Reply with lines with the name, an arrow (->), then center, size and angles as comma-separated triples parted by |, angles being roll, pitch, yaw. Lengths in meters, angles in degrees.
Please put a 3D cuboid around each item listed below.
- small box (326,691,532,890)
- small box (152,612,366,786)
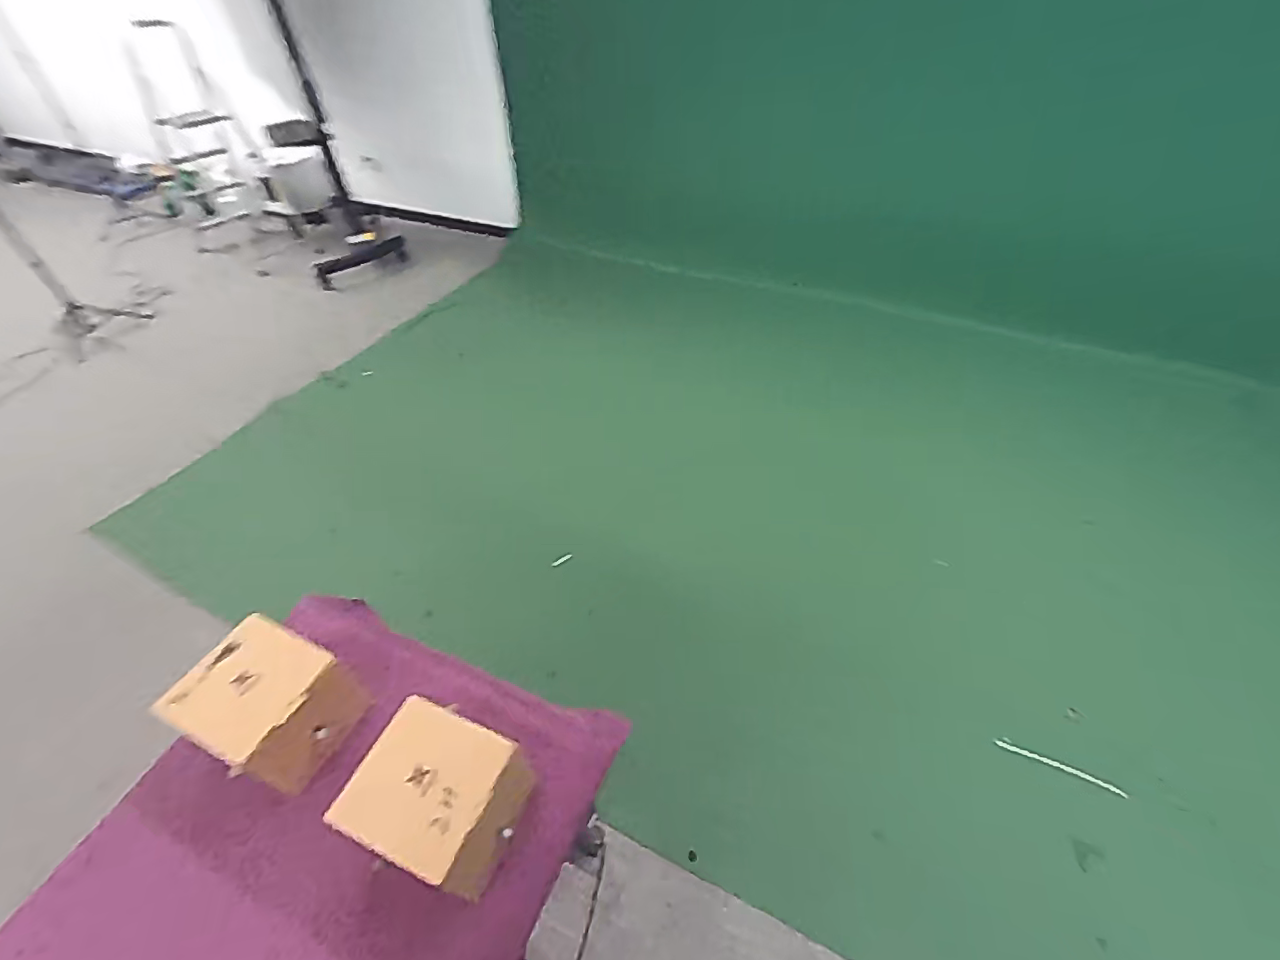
small box -> -0.272, 0.427, 0.740 | 0.179, 0.176, 0.168 | 17, 50, 17
small box -> -0.562, 0.339, 0.828 | 0.179, 0.176, 0.168 | 20, 49, 15
